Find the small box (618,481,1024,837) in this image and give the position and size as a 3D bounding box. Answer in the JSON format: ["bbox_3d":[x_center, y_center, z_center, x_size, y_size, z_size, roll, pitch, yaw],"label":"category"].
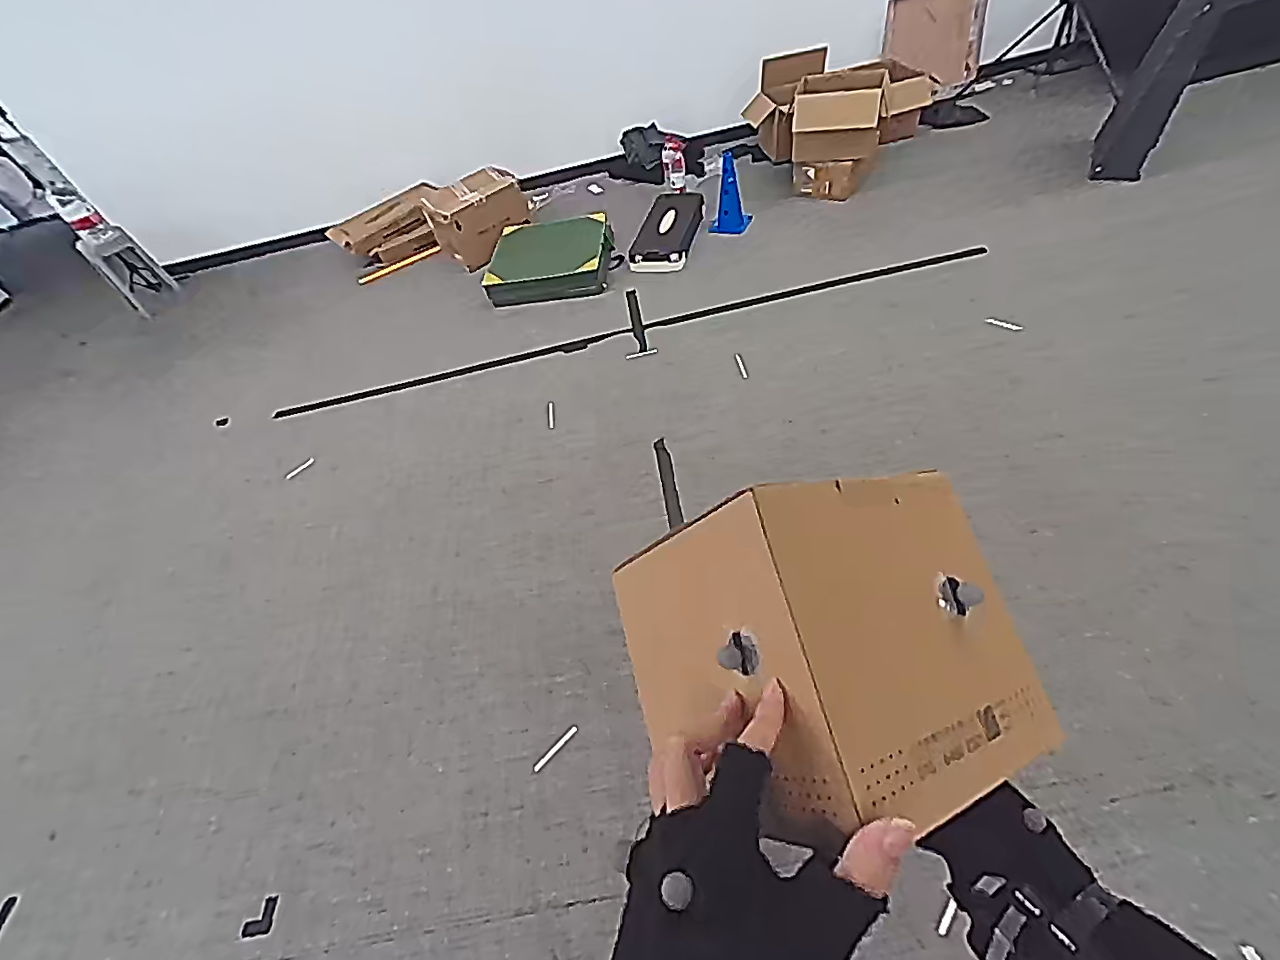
[{"bbox_3d":[0.108,0.115,0.368,0.168,0.179,0.176,-4,69,-30],"label":"small box"}]
